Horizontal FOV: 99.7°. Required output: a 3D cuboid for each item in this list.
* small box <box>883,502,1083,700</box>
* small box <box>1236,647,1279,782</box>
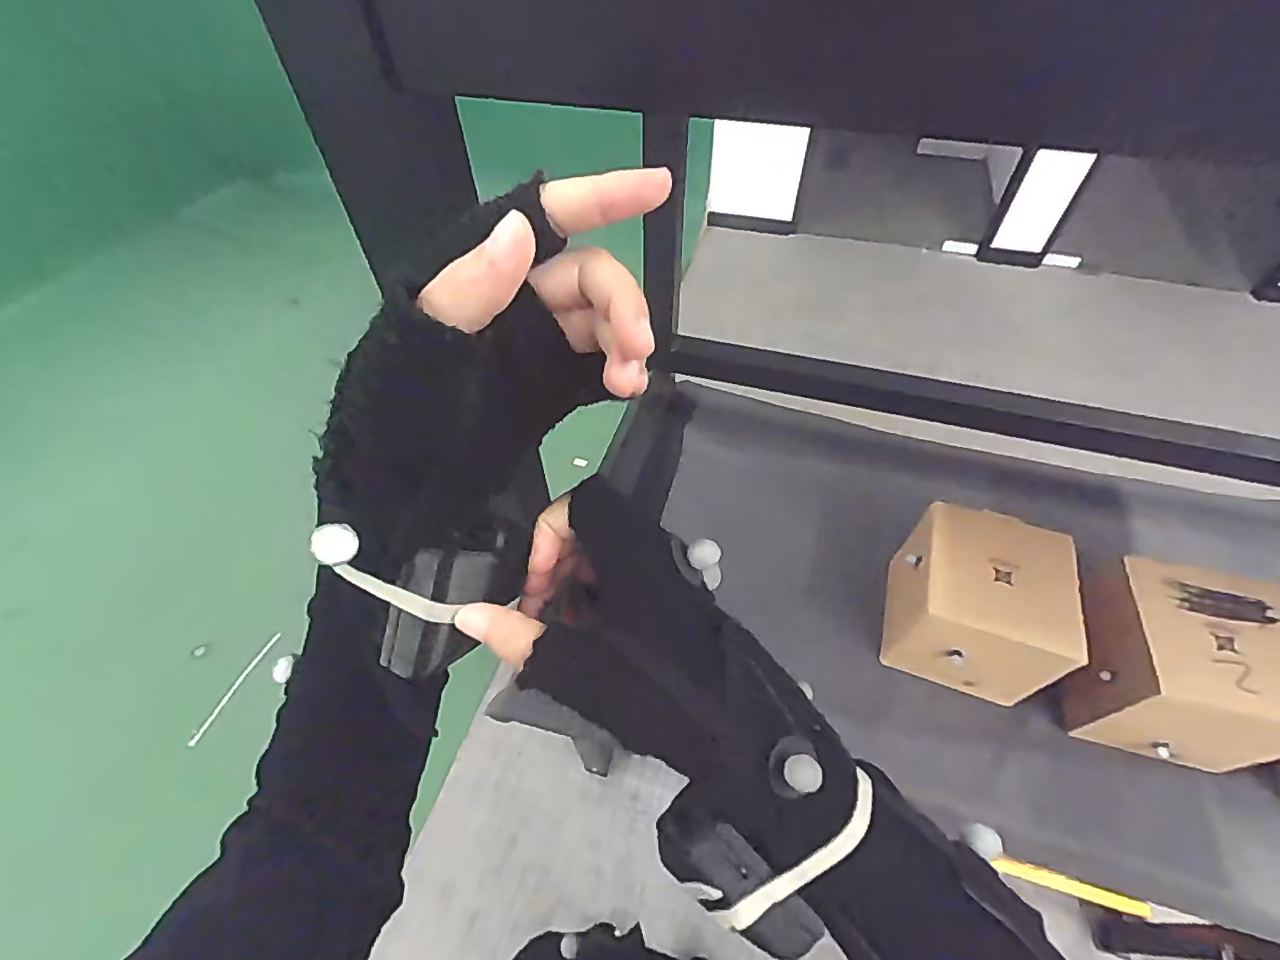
[{"bbox_3d":[0.436,0.163,0.714,0.168,0.176,0.179,16,53,13],"label":"small box"},{"bbox_3d":[0.853,0.284,0.604,0.168,0.176,0.179,12,52,10],"label":"small box"}]
